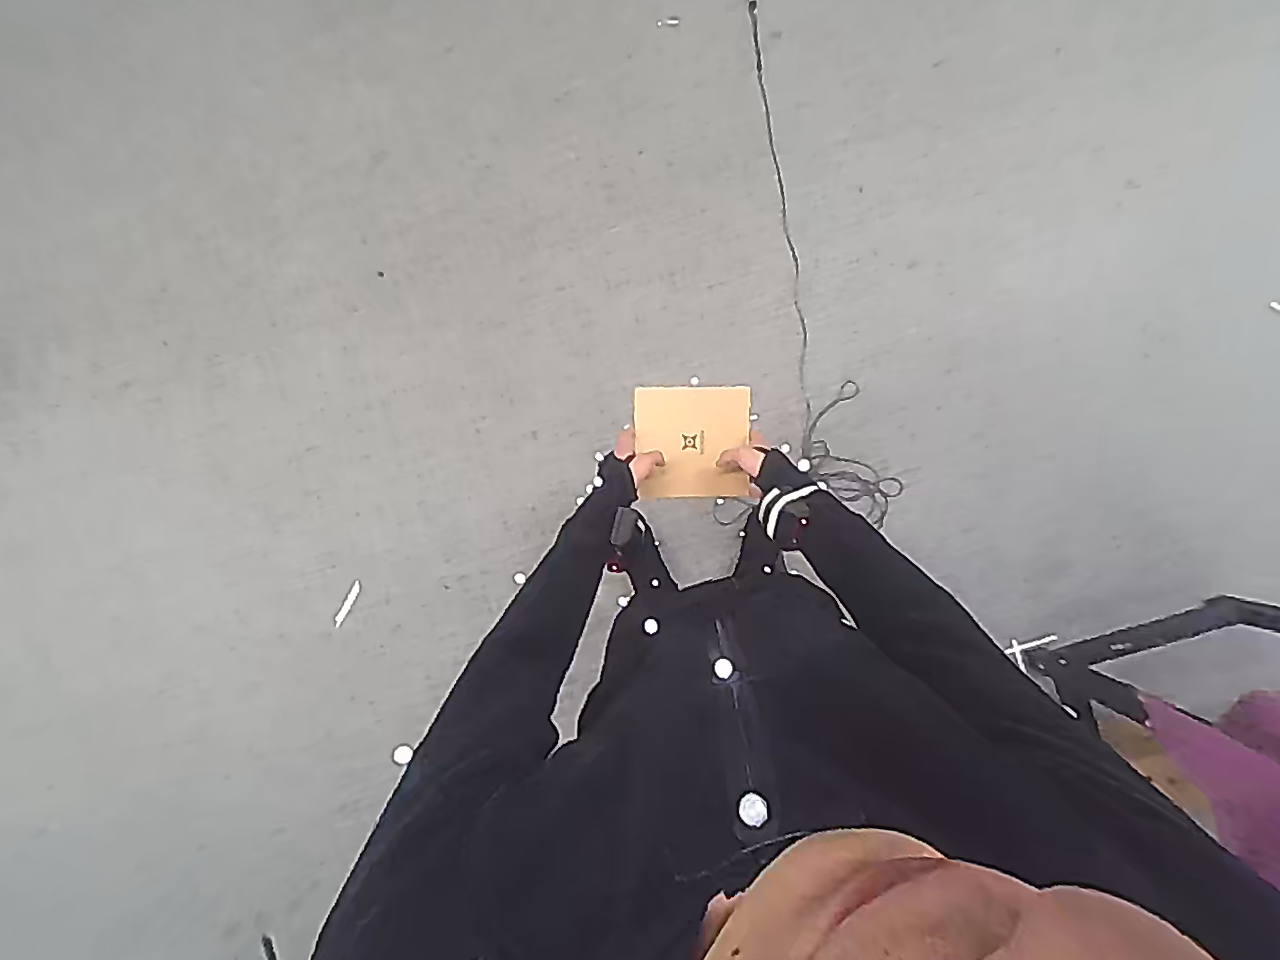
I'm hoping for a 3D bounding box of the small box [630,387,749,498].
[{"bbox_3d":[0.072,-0.060,0.877,0.179,0.176,0.168,-1,95,-2],"label":"small box"}]
